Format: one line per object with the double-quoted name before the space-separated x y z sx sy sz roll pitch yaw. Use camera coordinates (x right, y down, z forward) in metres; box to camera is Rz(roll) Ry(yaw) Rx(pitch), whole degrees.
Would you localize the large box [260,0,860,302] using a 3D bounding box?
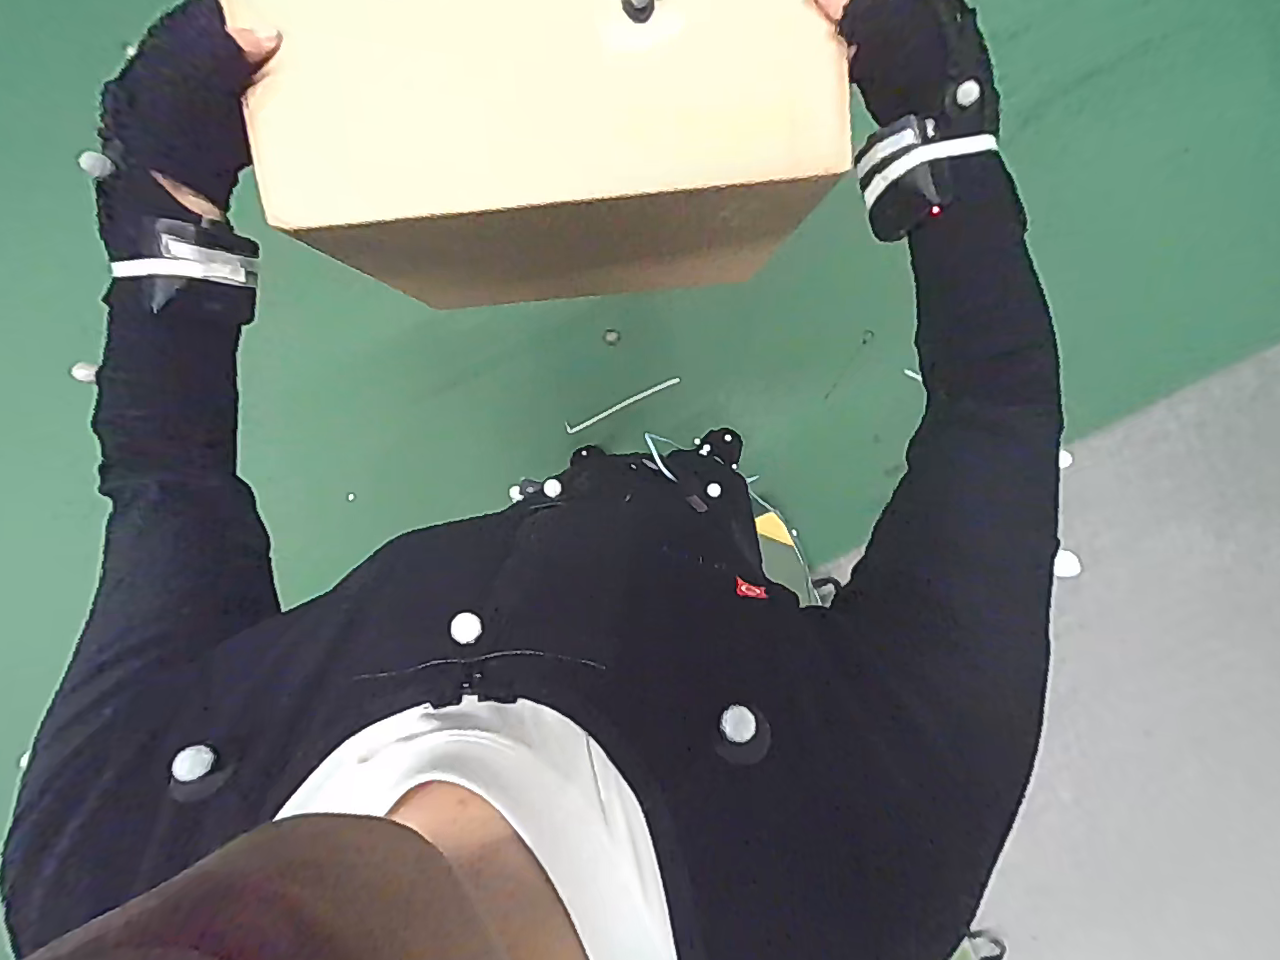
"large box" -0.062 -0.373 0.508 0.408 0.320 0.320 -6 98 -2
